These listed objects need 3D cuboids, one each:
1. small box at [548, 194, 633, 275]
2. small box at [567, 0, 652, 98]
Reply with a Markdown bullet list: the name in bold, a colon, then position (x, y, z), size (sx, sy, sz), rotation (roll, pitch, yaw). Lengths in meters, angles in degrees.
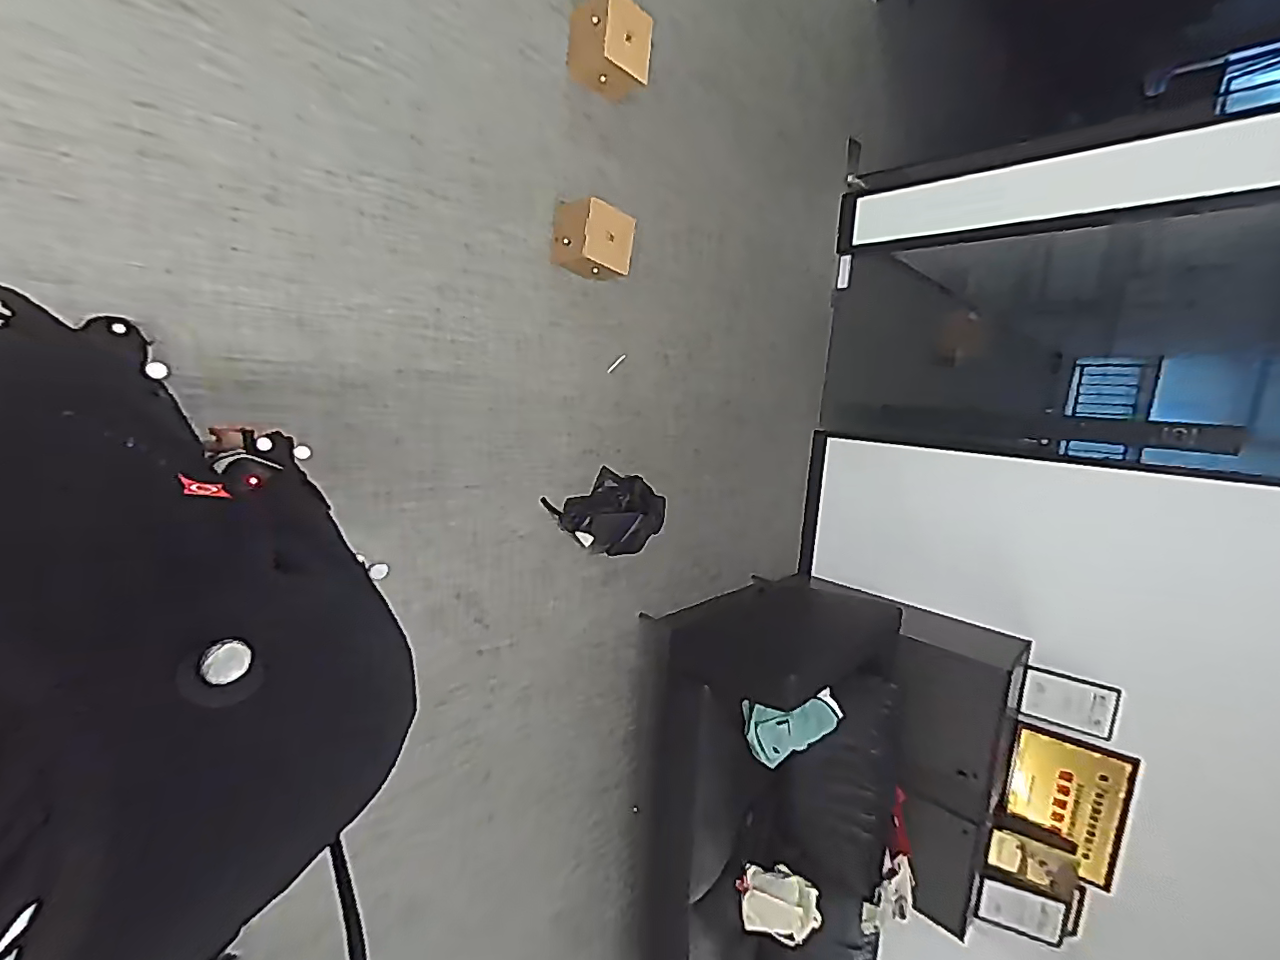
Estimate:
- **small box**: position (-0.149, -0.714, 1.599), size (0.179, 0.176, 0.168), rotation (3, 99, -47)
- **small box**: position (-0.090, -1.229, 1.530), size (0.168, 0.176, 0.179), rotation (-2, 101, -45)
